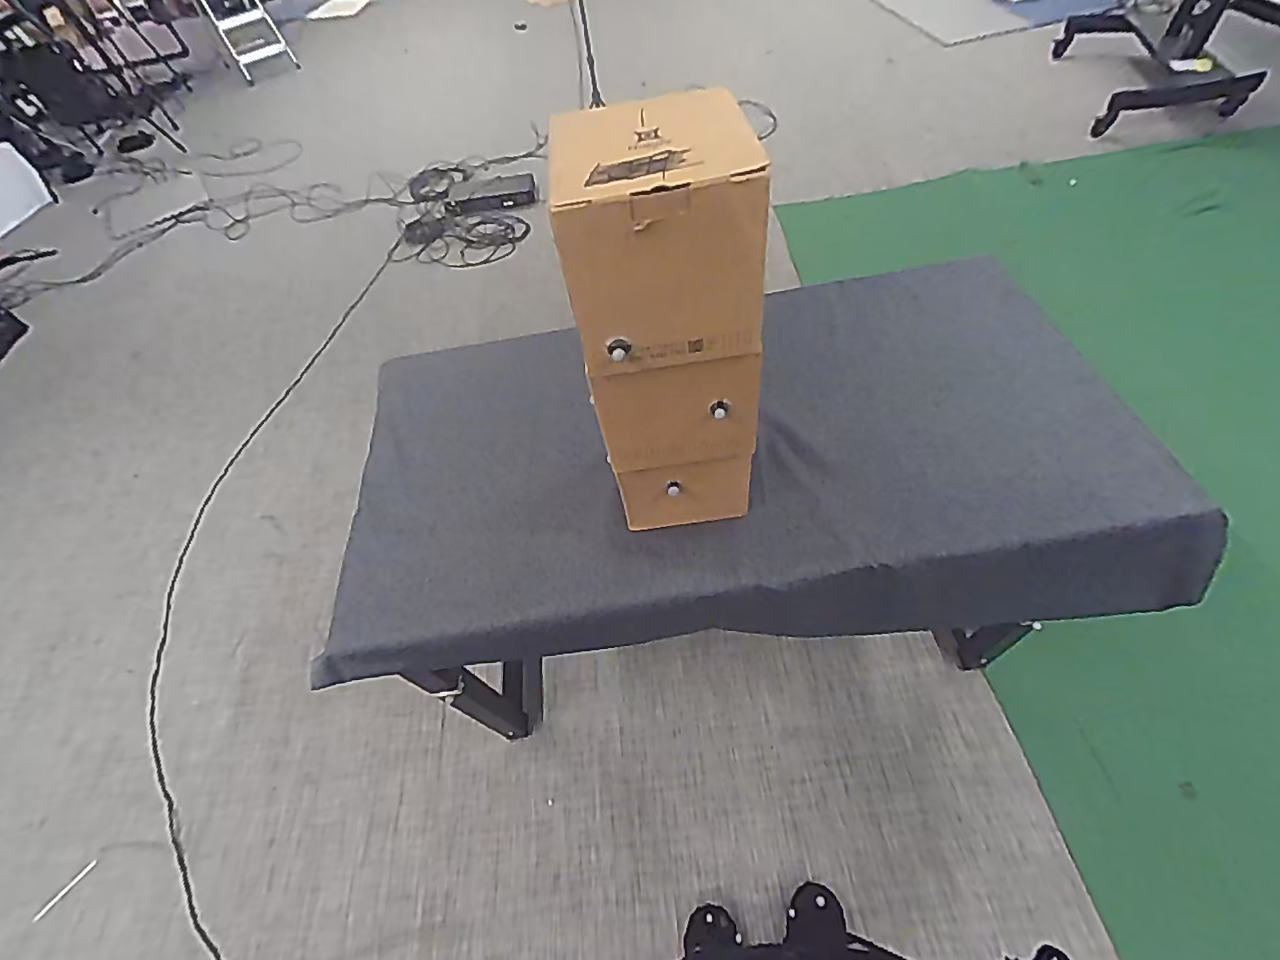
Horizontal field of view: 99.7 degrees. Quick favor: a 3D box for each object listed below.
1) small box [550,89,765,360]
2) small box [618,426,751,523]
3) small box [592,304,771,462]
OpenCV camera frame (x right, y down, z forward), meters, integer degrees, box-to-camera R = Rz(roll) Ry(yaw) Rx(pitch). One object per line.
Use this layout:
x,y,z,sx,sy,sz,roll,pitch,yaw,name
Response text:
0.016,-0.228,0.509,0.168,0.176,0.179,-8,53,2,small box
0.055,-0.055,0.787,0.179,0.176,0.168,-10,53,0,small box
0.037,-0.143,0.629,0.179,0.176,0.168,-11,54,0,small box
